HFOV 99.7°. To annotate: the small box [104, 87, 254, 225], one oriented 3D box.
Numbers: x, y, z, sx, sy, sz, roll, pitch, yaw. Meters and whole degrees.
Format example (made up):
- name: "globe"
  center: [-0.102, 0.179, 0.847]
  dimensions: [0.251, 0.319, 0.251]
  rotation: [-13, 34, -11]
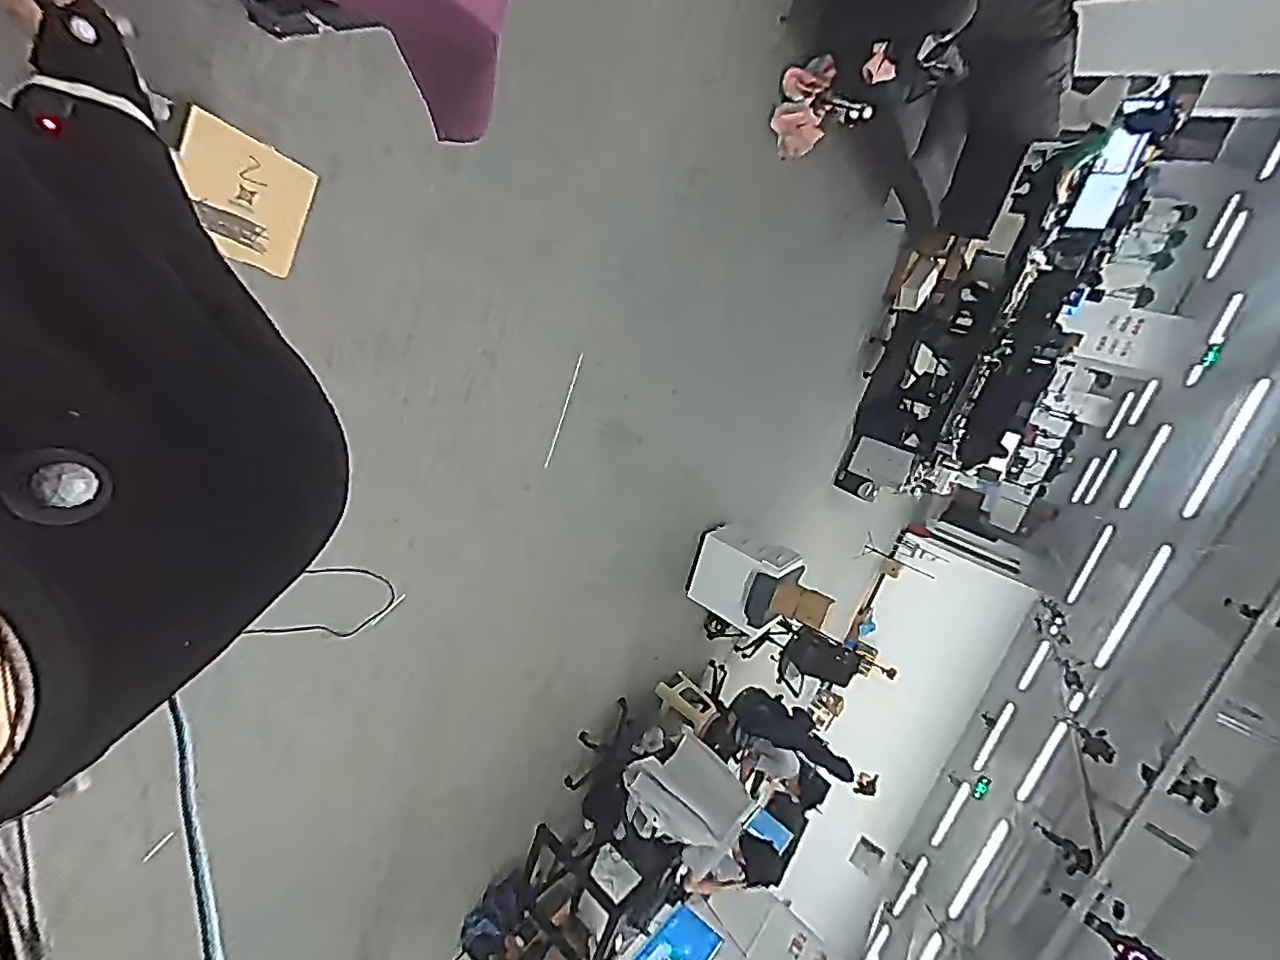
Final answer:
- name: "small box"
  center: [-0.874, -0.611, 1.025]
  dimensions: [0.179, 0.176, 0.168]
  rotation: [1, 112, -53]
